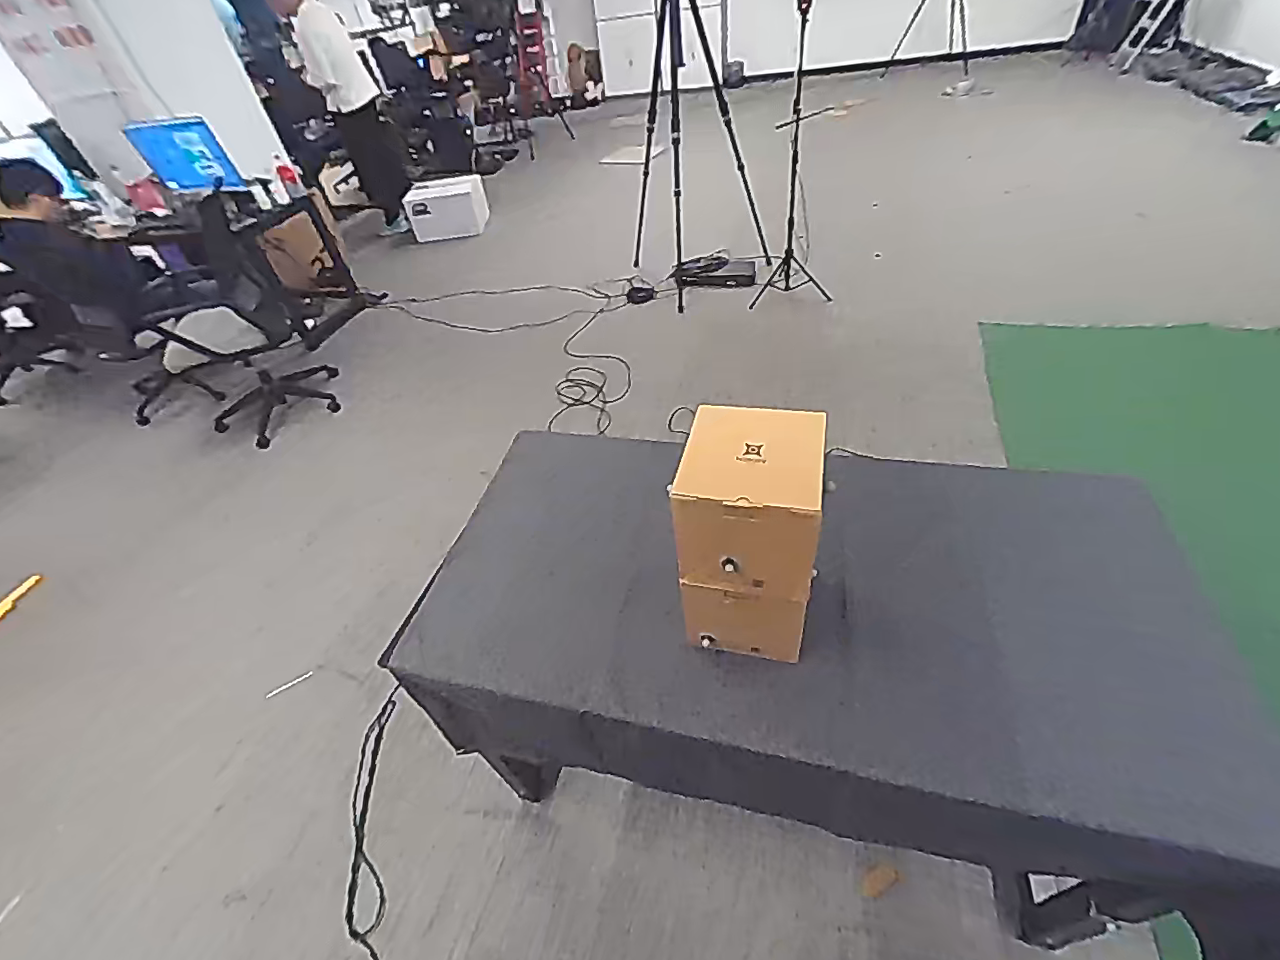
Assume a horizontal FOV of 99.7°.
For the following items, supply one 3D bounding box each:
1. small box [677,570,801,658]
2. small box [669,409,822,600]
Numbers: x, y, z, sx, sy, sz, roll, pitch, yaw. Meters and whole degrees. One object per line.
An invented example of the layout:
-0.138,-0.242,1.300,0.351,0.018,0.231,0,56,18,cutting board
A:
0.160,0.145,0.821,0.168,0.176,0.179,5,44,16,small box
0.140,0.029,0.709,0.168,0.176,0.179,6,45,16,small box
